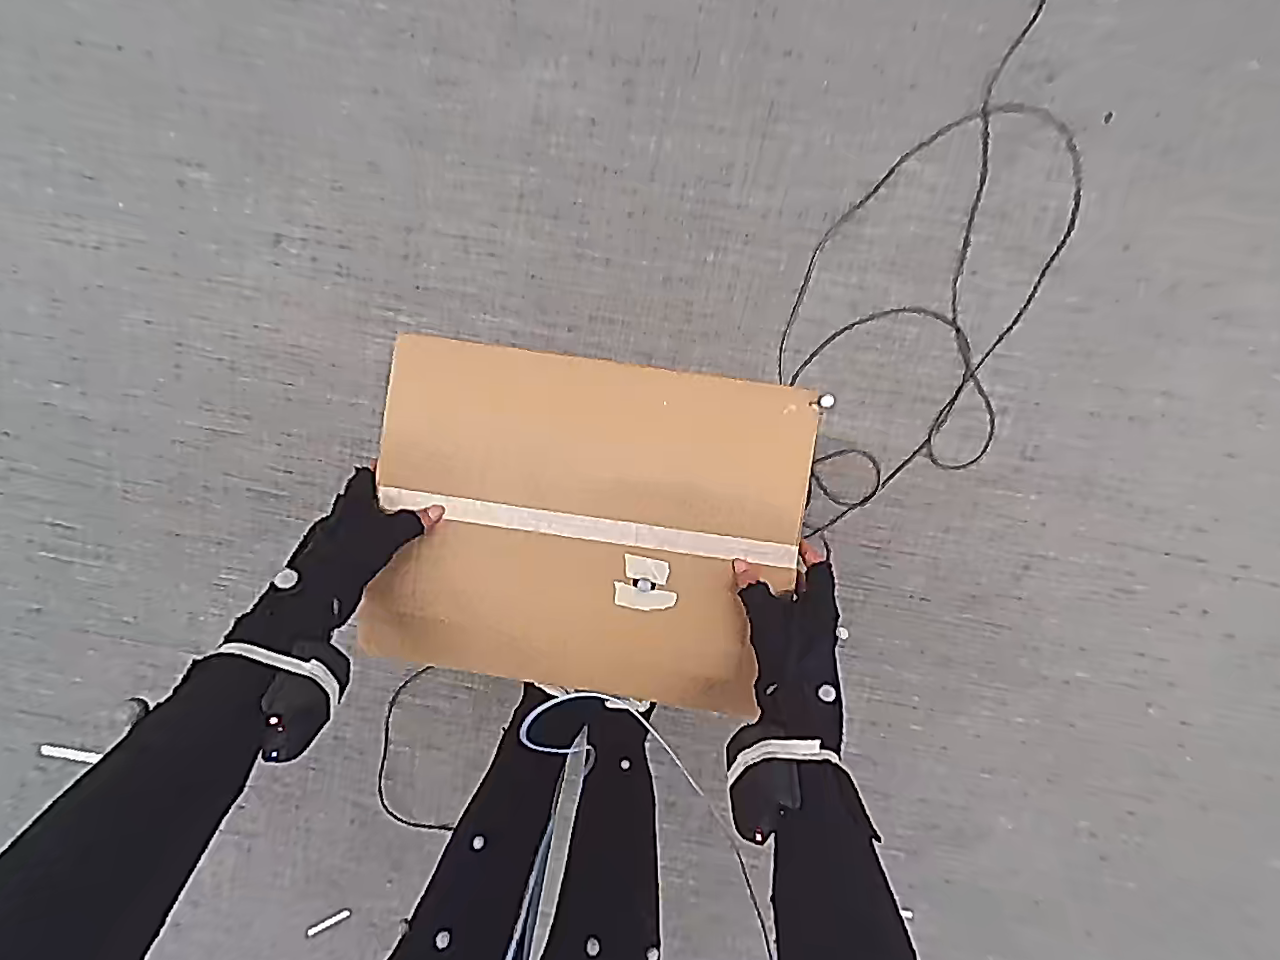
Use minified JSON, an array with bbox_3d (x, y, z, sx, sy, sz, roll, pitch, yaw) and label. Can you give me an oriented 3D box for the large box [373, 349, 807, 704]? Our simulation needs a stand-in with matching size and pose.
[{"bbox_3d":[-0.050,0.044,0.681,0.408,0.320,0.320,8,92,2],"label":"large box"}]
